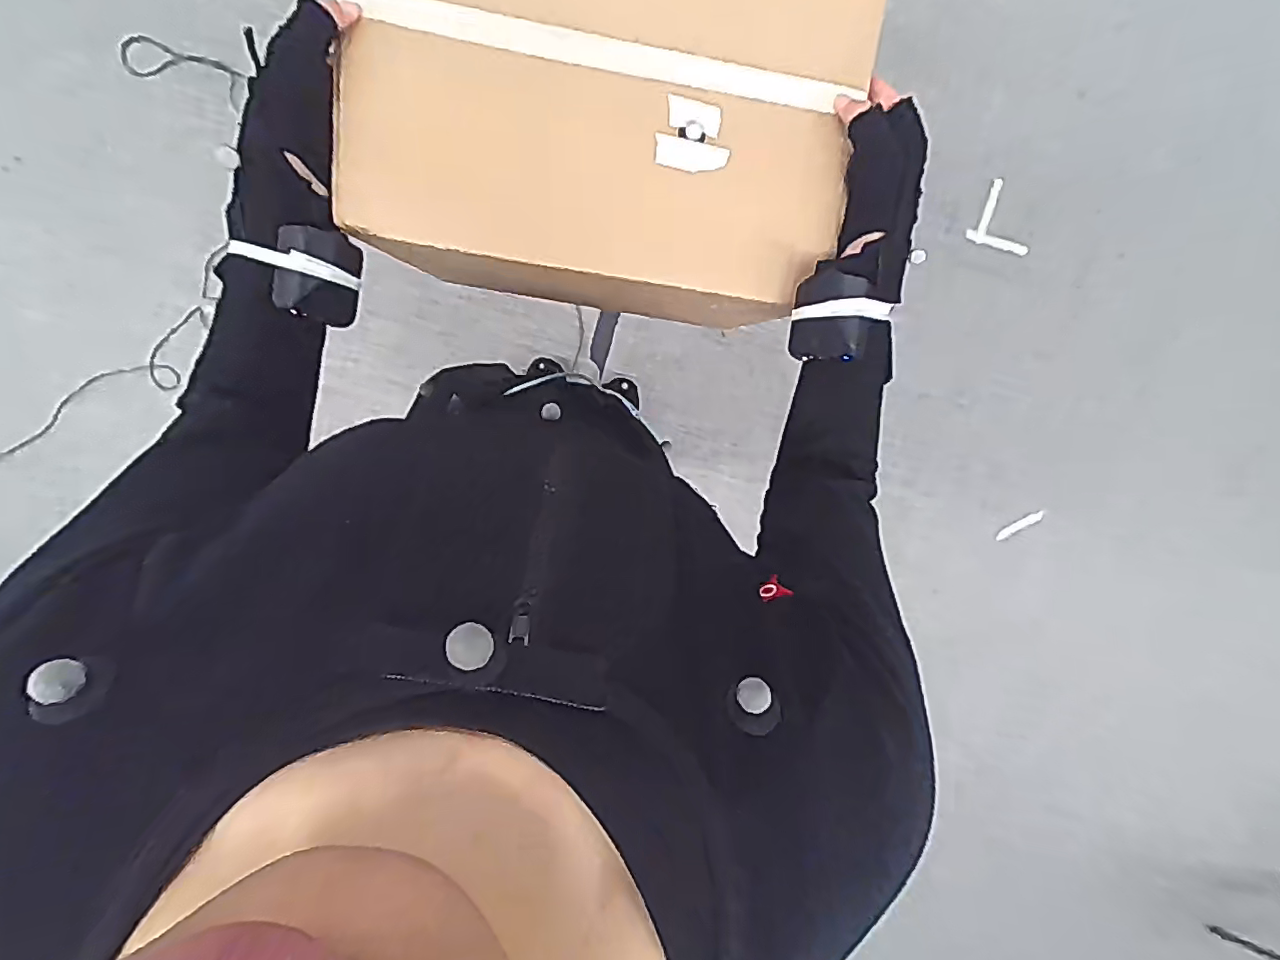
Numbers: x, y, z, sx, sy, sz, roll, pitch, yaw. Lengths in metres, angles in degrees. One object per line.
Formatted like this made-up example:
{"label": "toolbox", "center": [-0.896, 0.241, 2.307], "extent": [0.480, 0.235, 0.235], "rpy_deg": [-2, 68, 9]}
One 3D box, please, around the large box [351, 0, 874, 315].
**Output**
{"label": "large box", "center": [-0.034, -0.365, 0.567], "extent": [0.408, 0.320, 0.320], "rpy_deg": [6, 103, -8]}
